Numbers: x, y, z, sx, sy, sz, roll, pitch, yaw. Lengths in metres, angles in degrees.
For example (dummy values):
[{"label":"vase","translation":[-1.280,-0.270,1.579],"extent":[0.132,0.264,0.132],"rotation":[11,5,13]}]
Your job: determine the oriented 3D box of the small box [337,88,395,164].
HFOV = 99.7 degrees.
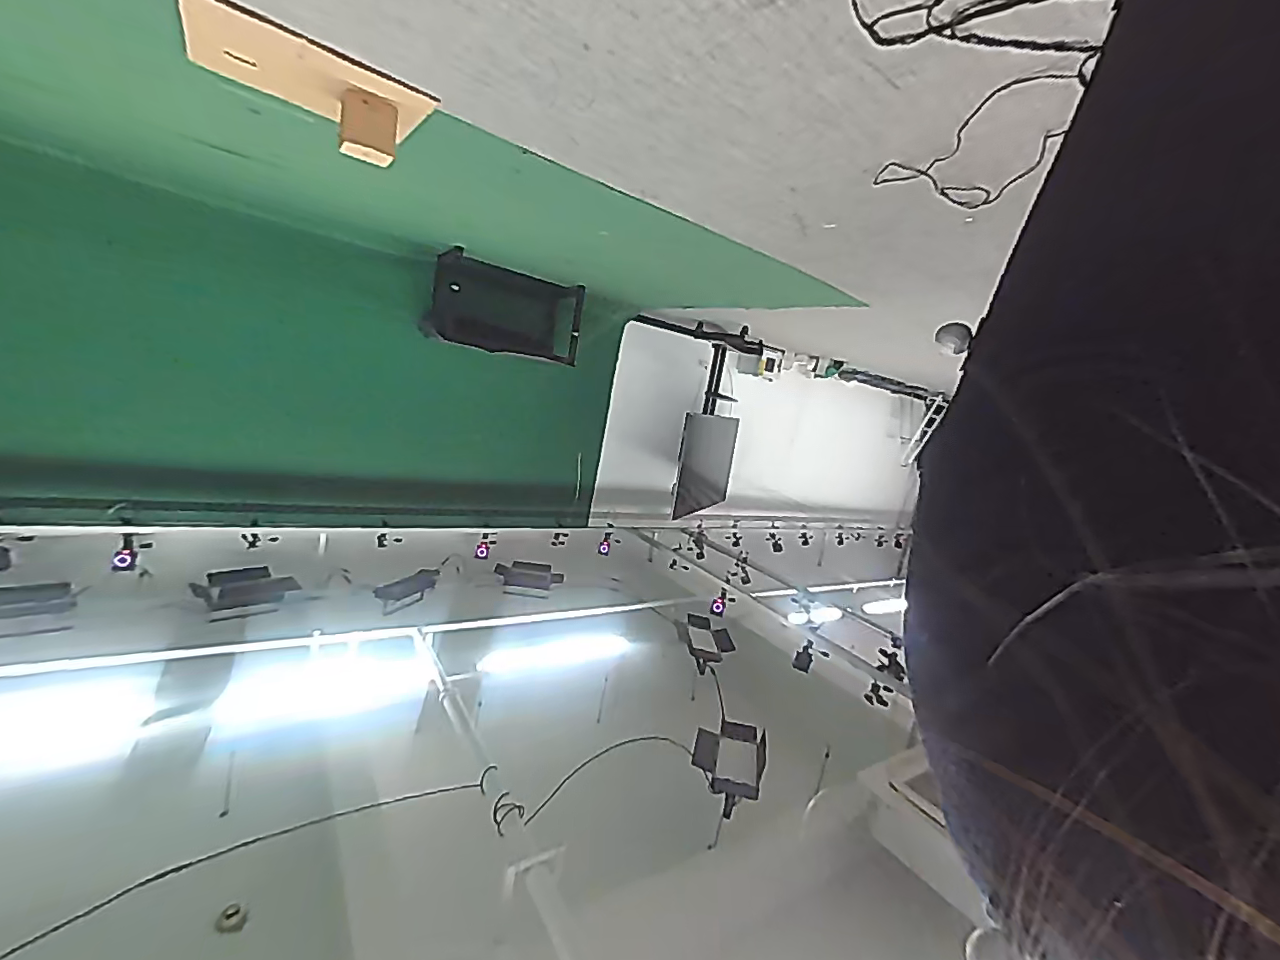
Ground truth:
[{"label":"small box","translation":[-1.012,-1.303,1.996],"extent":[0.168,0.176,0.179],"rotation":[1,-167,-36]}]
